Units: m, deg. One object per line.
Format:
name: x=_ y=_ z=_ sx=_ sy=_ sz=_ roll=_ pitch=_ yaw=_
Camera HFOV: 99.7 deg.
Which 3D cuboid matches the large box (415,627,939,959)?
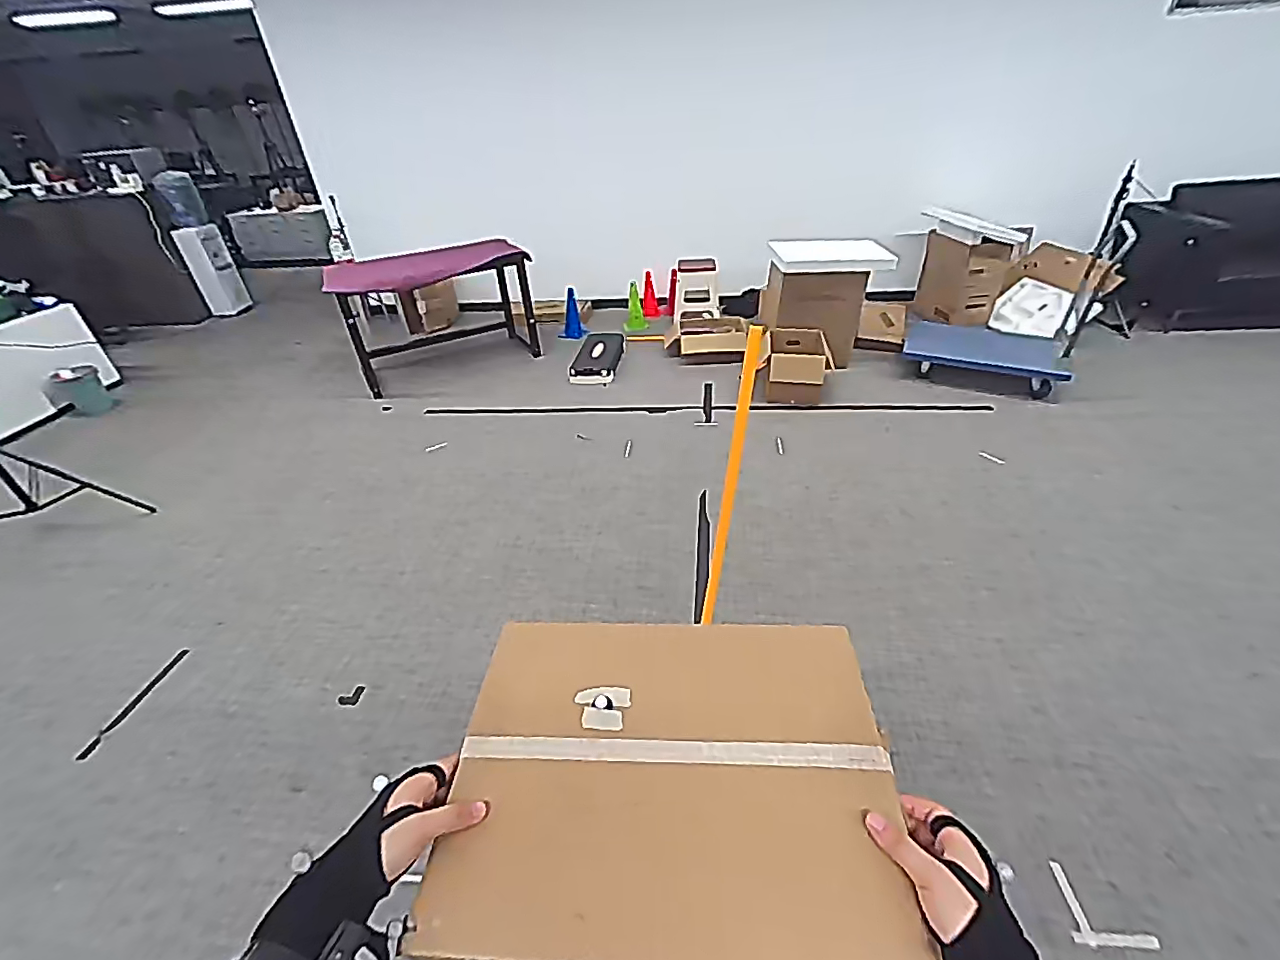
large box: x=0.043 y=0.390 z=0.610 sx=0.408 sy=0.320 sz=0.320 roll=-2 pitch=35 yaw=6
